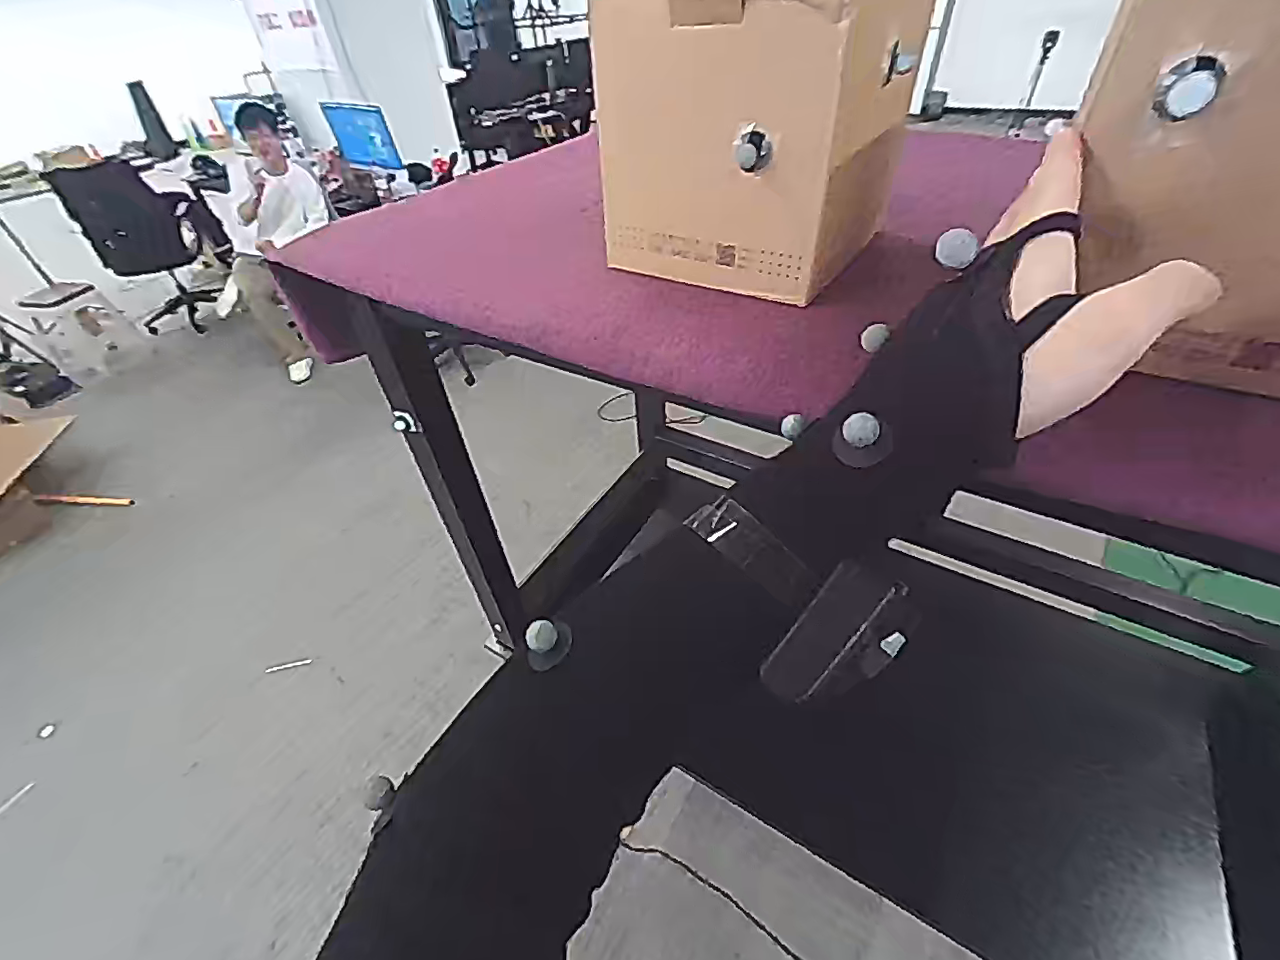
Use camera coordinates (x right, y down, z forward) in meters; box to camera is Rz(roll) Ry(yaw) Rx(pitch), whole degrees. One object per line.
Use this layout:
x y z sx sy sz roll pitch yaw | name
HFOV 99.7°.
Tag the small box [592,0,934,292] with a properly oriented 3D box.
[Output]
0.089 -0.254 0.391 0.168 0.176 0.179 23 48 26 | small box
